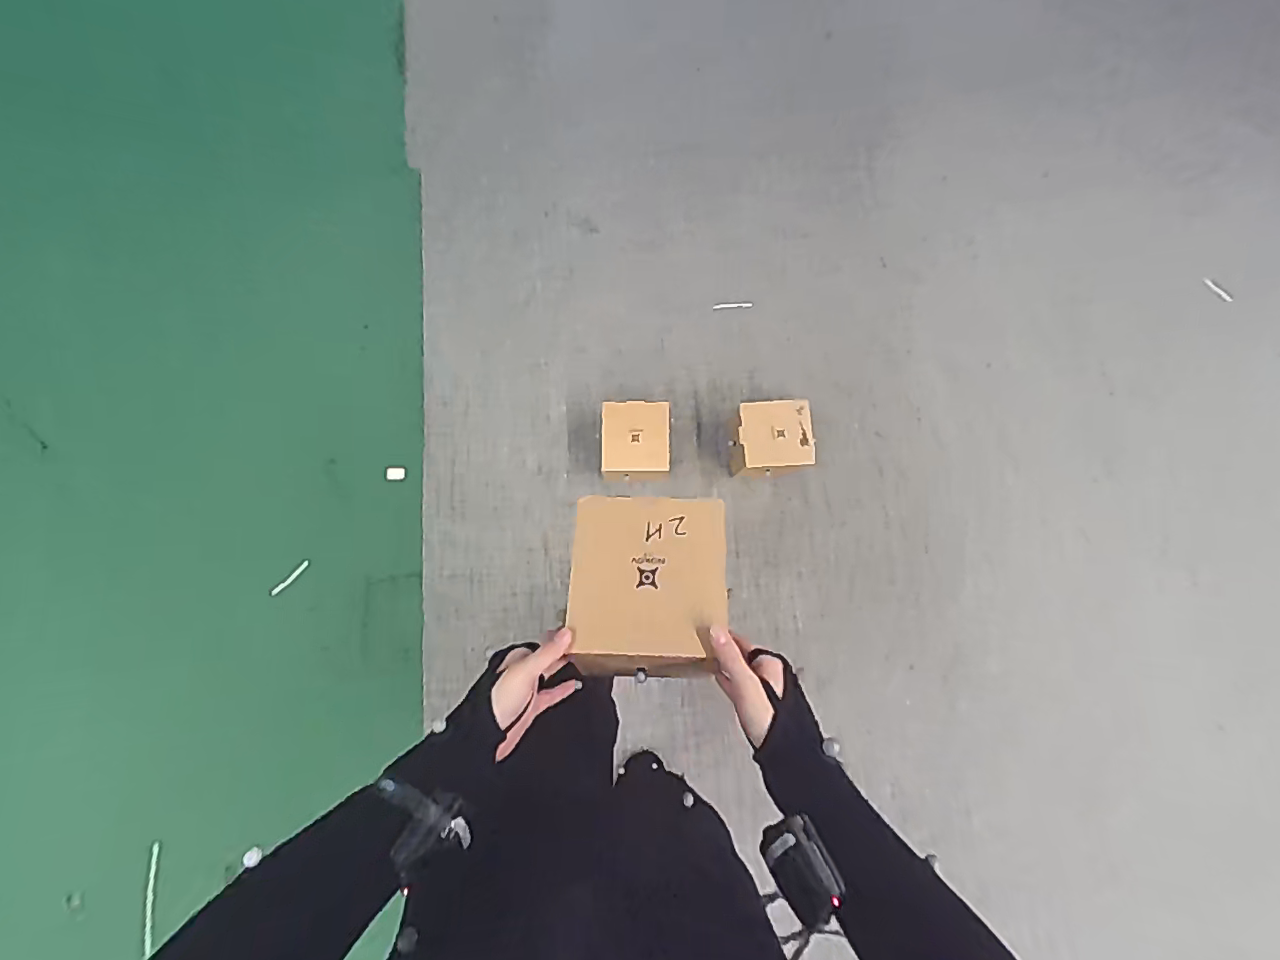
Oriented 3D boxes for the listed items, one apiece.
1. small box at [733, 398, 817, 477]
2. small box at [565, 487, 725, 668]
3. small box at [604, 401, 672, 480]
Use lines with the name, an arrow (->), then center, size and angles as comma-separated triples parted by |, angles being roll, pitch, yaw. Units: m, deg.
small box -> 0.340, -0.104, 1.396 | 0.179, 0.176, 0.168 | -3, 81, 0
small box -> 0.012, 0.123, 0.648 | 0.168, 0.176, 0.179 | 1, 62, 3
small box -> -0.003, -0.096, 1.396 | 0.168, 0.176, 0.179 | 0, 80, 0
